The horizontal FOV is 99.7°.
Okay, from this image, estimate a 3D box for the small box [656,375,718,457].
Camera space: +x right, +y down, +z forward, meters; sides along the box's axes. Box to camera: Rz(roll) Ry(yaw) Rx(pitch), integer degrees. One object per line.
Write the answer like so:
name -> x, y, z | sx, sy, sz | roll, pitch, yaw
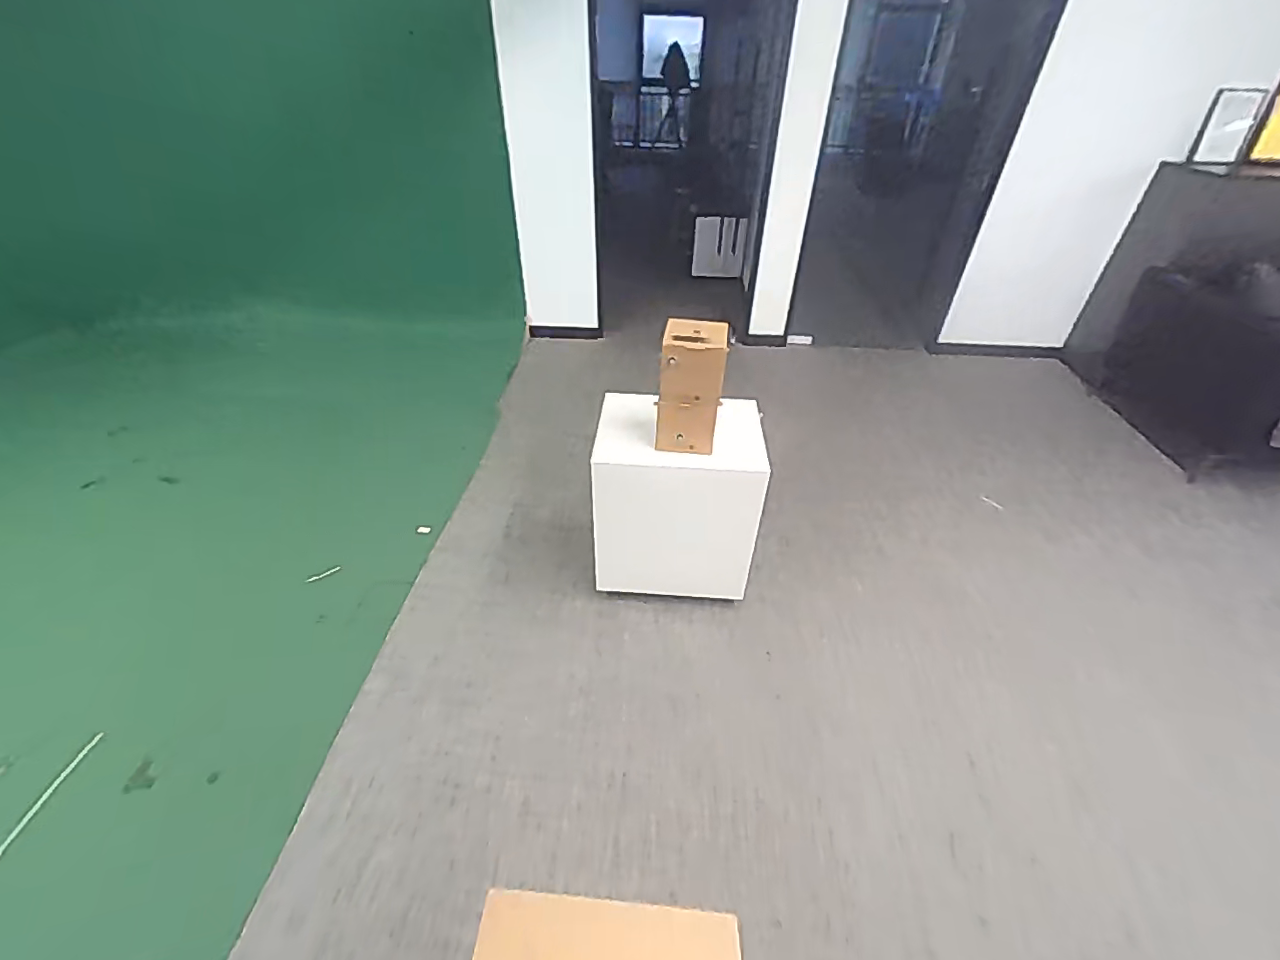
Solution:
small box -> 0.136, -0.187, 1.578 | 0.168, 0.176, 0.179 | 4, 37, 4
